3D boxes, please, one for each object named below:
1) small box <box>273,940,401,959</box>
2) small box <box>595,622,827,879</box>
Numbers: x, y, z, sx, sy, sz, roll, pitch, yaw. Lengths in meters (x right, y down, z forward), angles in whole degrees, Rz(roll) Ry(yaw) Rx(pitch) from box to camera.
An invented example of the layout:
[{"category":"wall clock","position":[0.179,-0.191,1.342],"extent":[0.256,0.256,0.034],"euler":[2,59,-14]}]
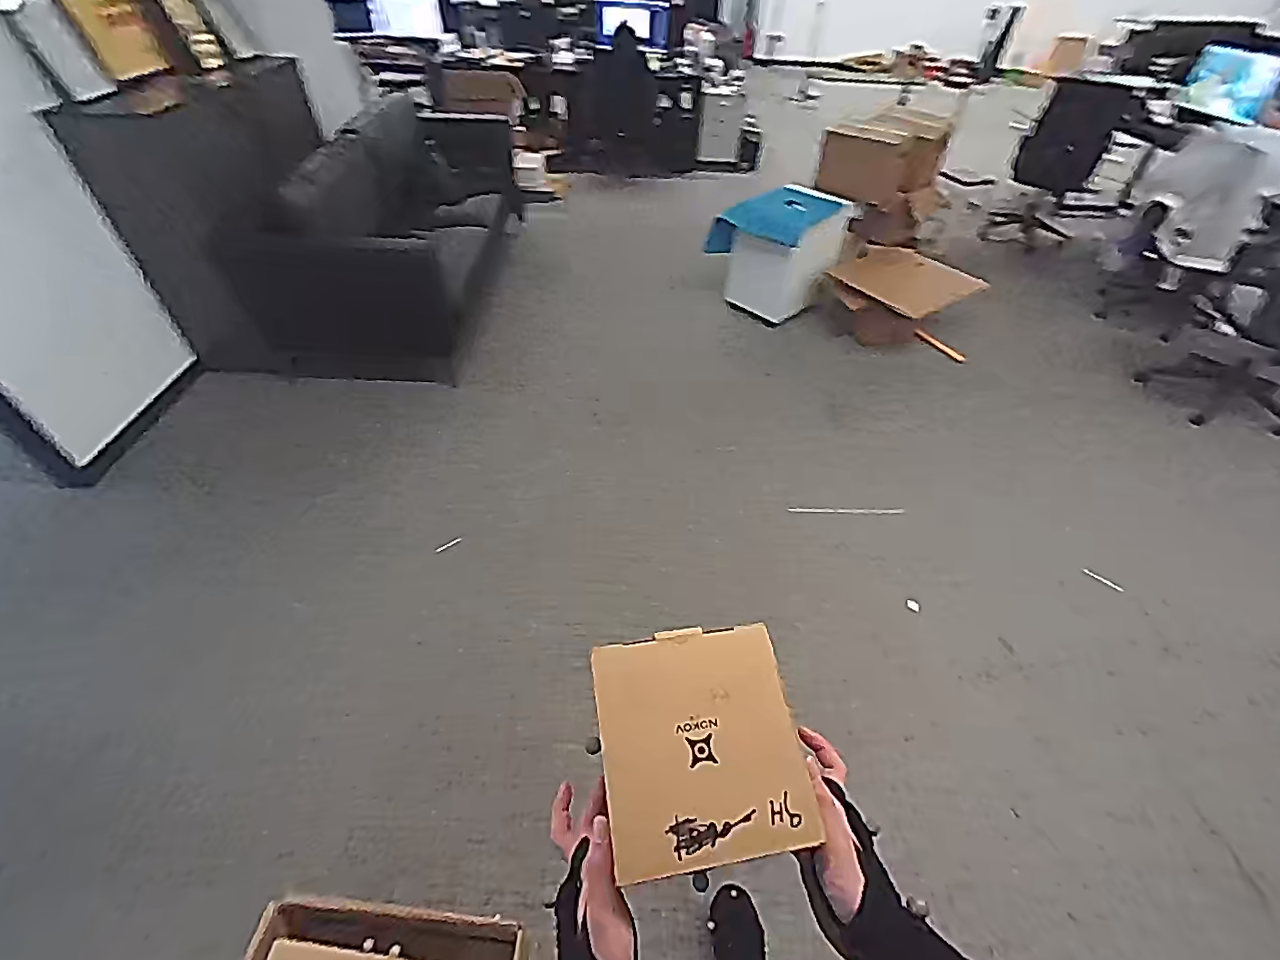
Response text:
[{"category":"small box","position":[-0.366,0.686,0.658],"extent":[0.179,0.176,0.168],"euler":[6,45,4]},{"category":"small box","position":[0.047,0.254,0.512],"extent":[0.168,0.176,0.179],"euler":[-7,58,-6]}]
